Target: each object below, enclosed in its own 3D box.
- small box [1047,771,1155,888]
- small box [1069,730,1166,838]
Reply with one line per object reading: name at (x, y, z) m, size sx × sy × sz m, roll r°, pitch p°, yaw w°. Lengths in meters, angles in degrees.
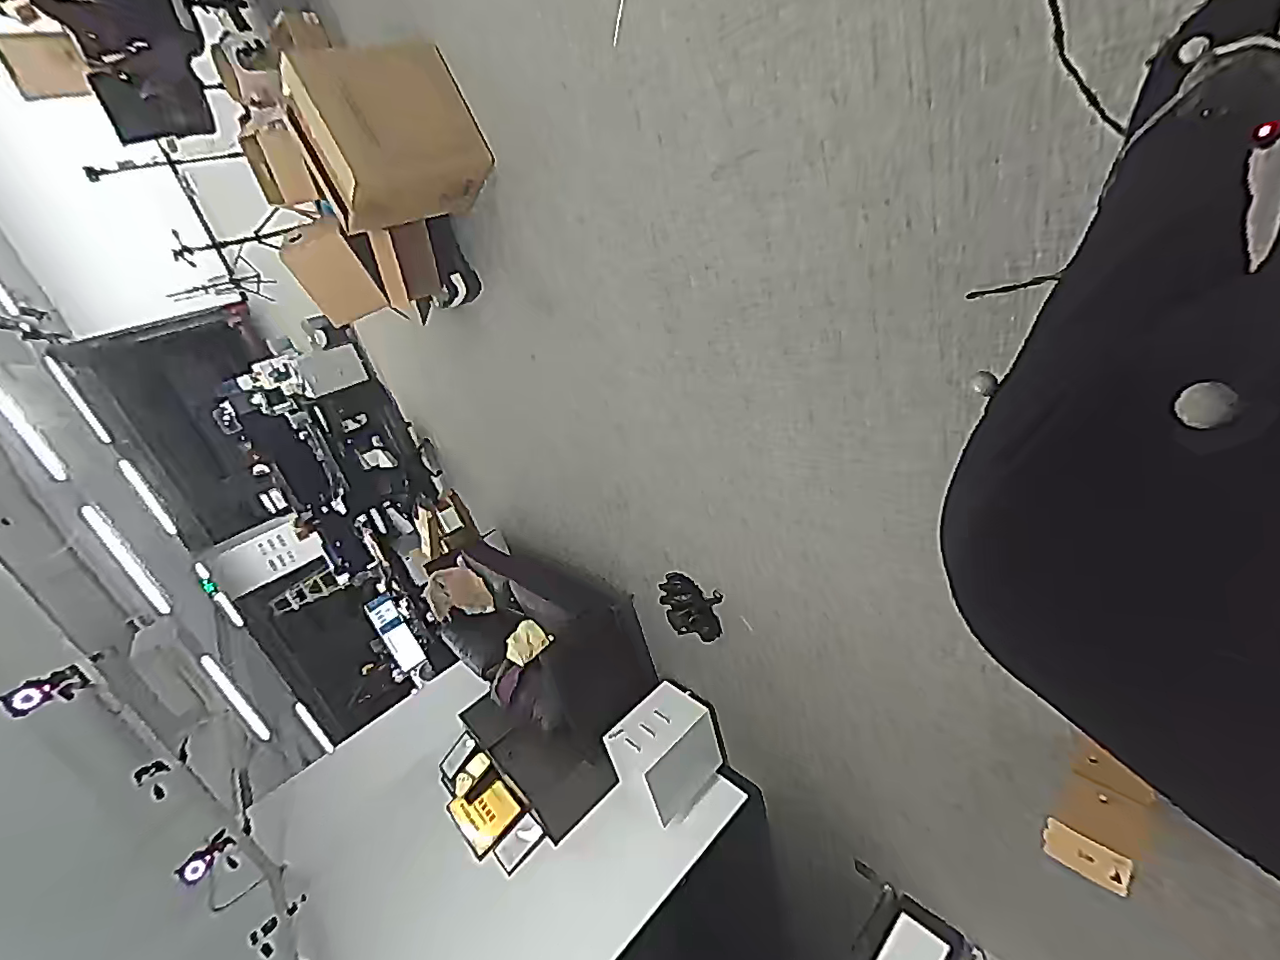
small box at (1.227, 0.918, 1.443) m, size 0.179 × 0.176 × 0.168 m, roll 18°, pitch 132°, yaw 48°
small box at (1.347, 0.846, 1.529) m, size 0.179 × 0.176 × 0.168 m, roll 11°, pitch 128°, yaw 49°
